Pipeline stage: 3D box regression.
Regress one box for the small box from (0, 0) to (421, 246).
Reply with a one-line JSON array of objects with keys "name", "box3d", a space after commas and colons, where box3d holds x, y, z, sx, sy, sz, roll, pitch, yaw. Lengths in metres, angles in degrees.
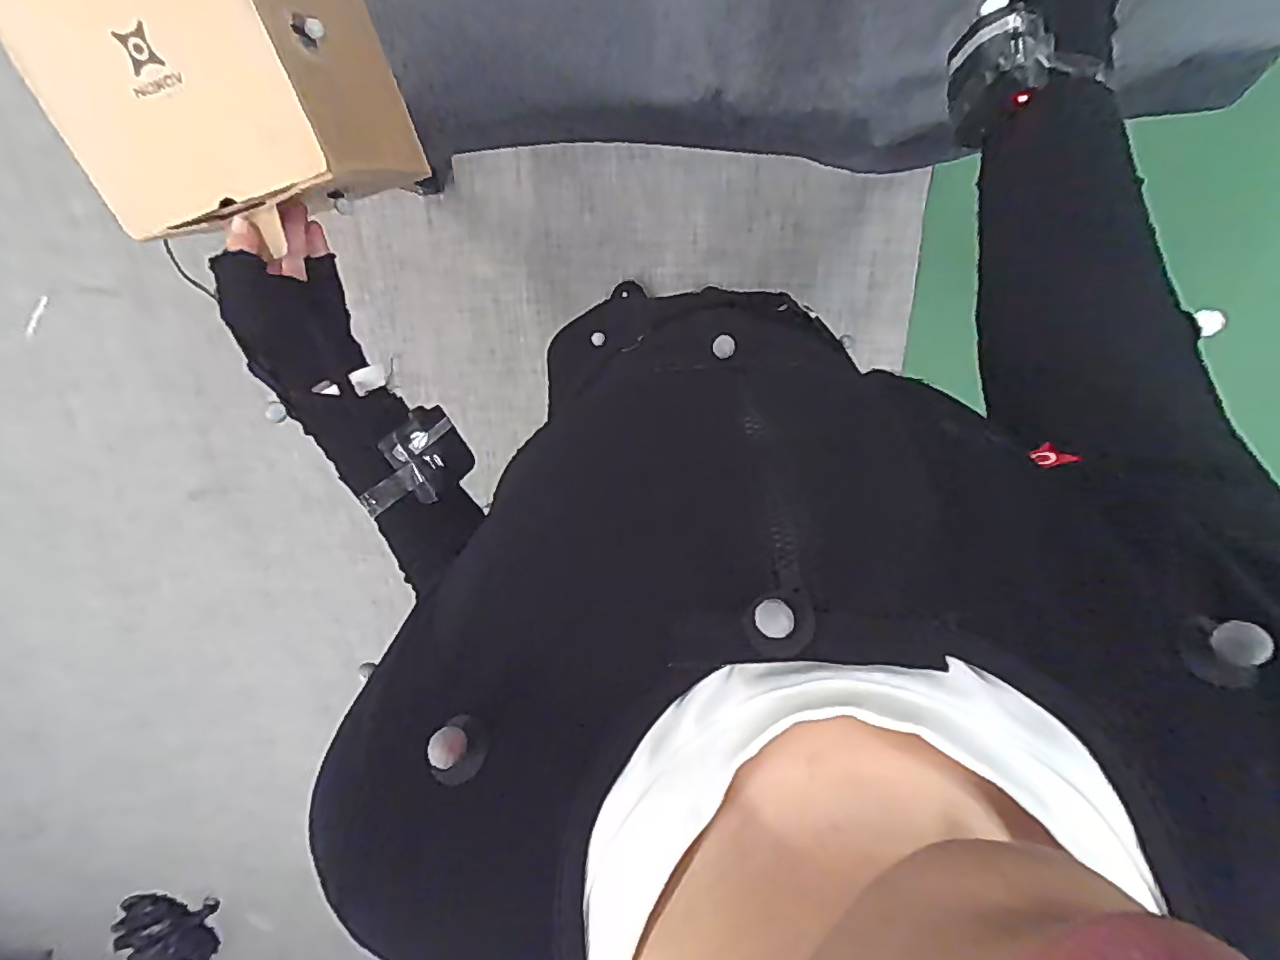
[{"name": "small box", "box3d": [-0.293, -0.291, 0.392, 0.168, 0.176, 0.179, -13, 117, 10]}]
